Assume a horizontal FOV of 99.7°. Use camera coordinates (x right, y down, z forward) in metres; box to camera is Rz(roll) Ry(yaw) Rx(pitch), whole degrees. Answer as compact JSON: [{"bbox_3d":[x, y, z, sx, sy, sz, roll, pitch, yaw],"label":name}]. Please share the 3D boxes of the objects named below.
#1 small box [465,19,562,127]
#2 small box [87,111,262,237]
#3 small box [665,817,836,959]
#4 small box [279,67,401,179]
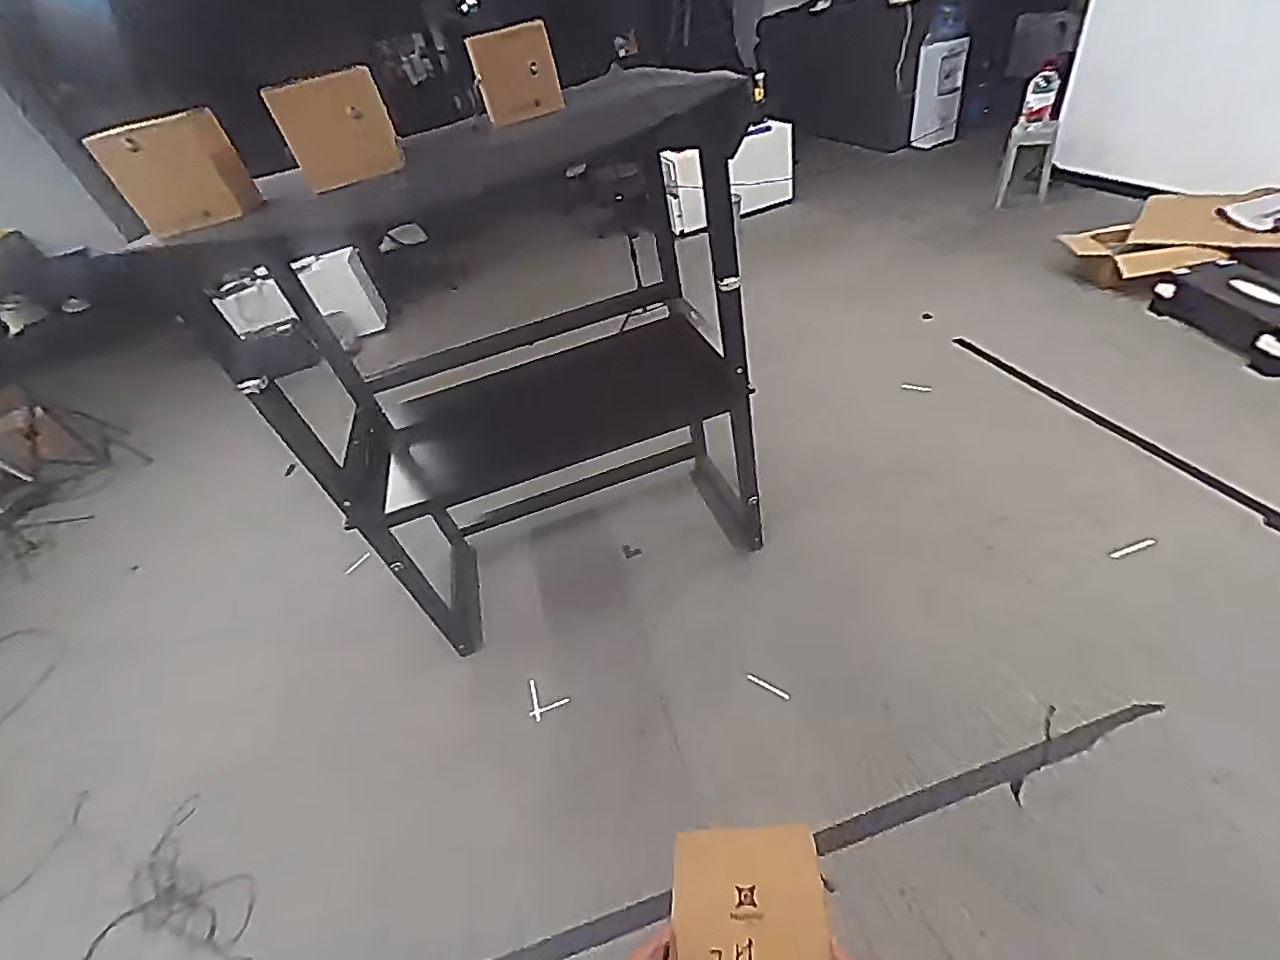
[{"bbox_3d":[-0.292,-0.945,1.261,0.168,0.176,0.179,-20,42,-6],"label":"small box"},{"bbox_3d":[-0.868,-0.584,1.034,0.168,0.176,0.179,-21,41,-6],"label":"small box"},{"bbox_3d":[0.131,0.527,0.616,0.168,0.176,0.179,-12,22,11],"label":"small box"},{"bbox_3d":[-0.670,-0.813,1.233,0.179,0.176,0.168,-19,41,-3],"label":"small box"}]
